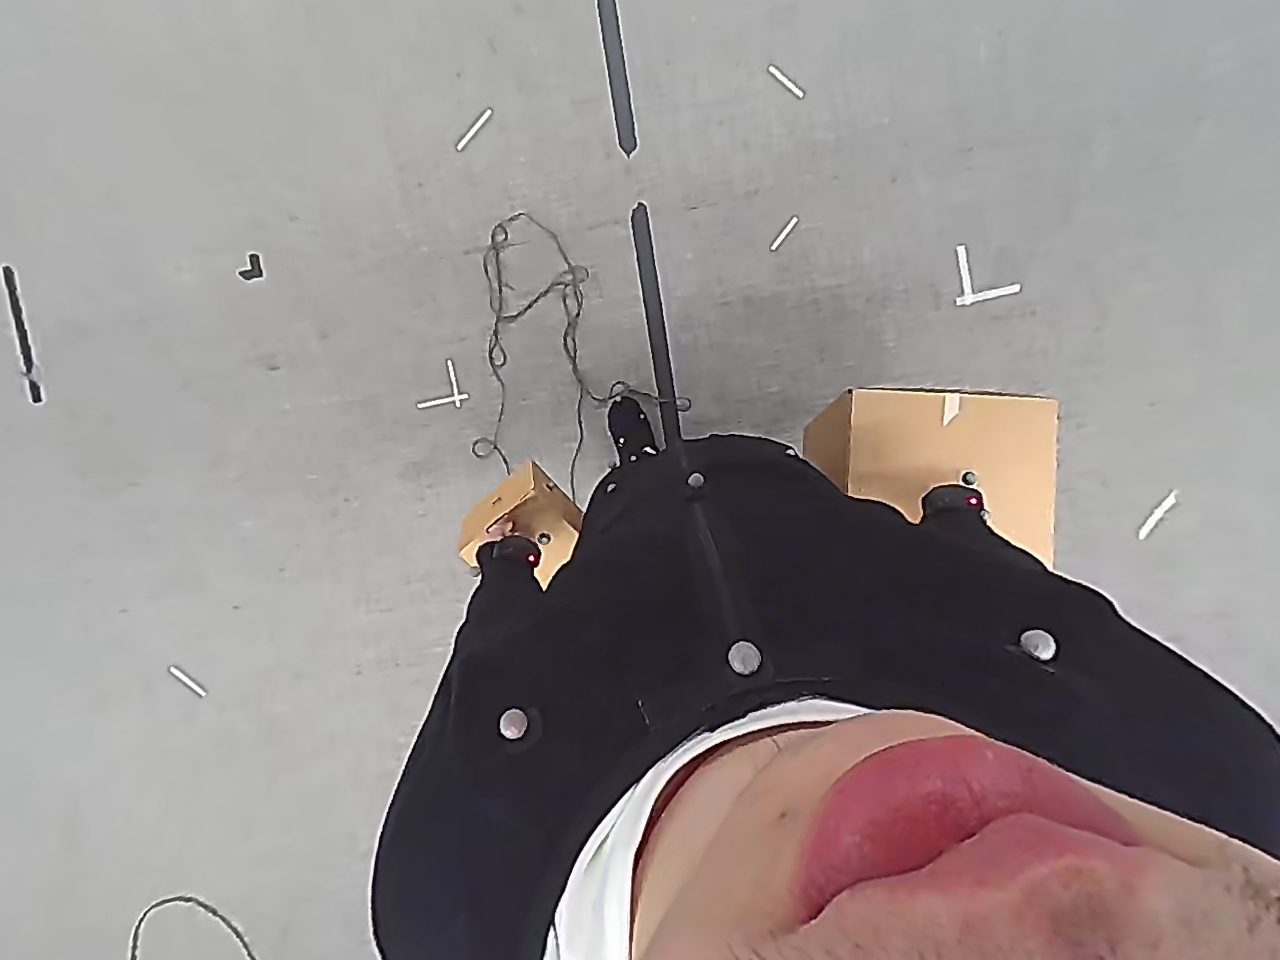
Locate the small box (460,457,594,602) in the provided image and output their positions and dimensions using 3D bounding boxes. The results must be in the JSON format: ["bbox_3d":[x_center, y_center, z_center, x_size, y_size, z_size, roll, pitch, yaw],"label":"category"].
[{"bbox_3d":[-0.199,0.093,0.976,0.168,0.179,0.176,-39,114,3],"label":"small box"}]
